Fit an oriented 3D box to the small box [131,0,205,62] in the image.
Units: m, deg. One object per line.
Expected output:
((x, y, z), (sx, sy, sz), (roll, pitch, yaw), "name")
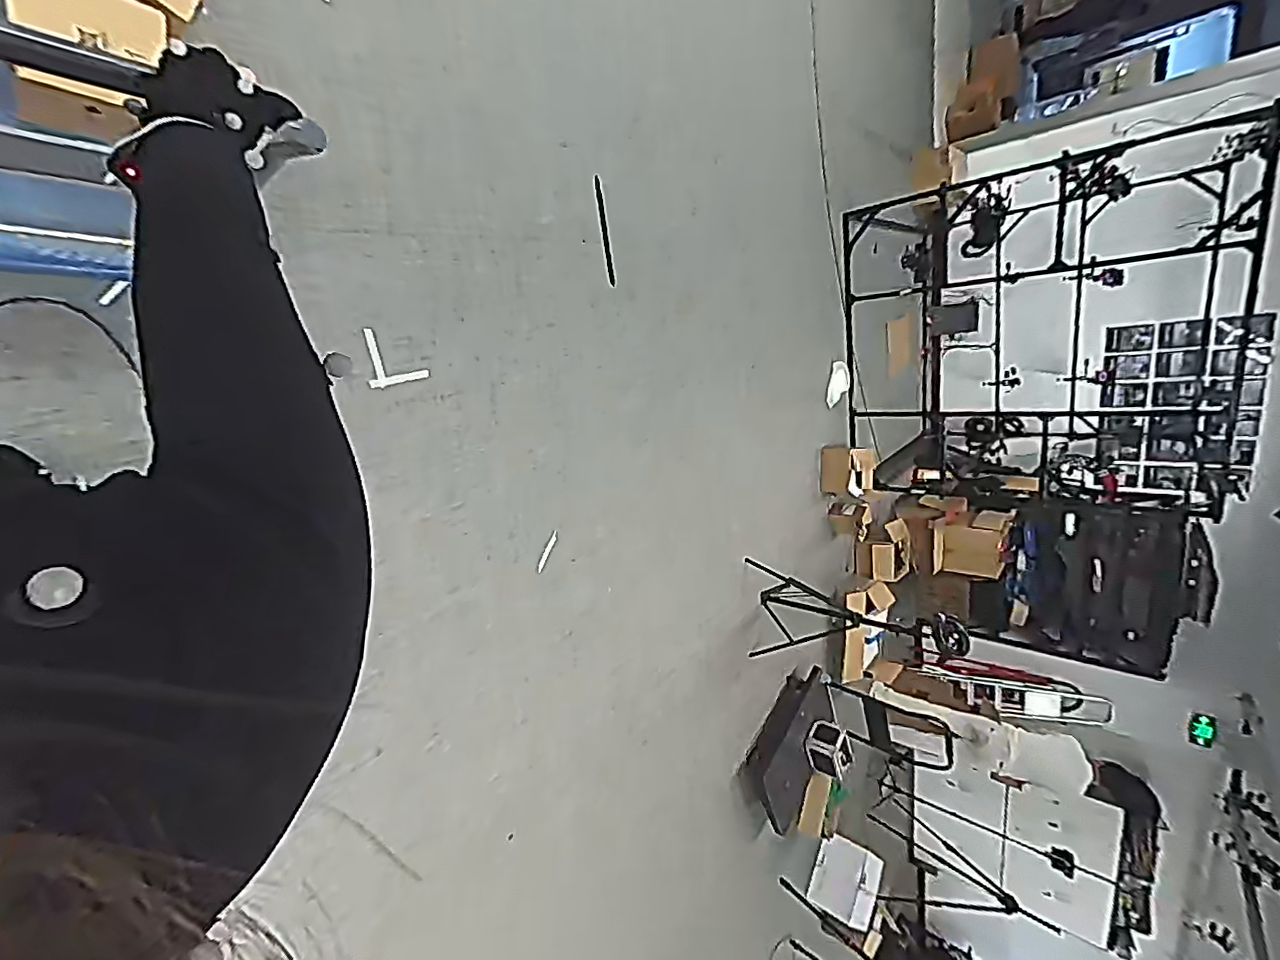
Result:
((-0.826, -0.856, 0.893), (0.168, 0.176, 0.179), (23, 78, -47), "small box")

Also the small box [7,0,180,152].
((-0.870, -0.657, 0.864), (0.179, 0.176, 0.168), (-10, 102, -47), "small box")
